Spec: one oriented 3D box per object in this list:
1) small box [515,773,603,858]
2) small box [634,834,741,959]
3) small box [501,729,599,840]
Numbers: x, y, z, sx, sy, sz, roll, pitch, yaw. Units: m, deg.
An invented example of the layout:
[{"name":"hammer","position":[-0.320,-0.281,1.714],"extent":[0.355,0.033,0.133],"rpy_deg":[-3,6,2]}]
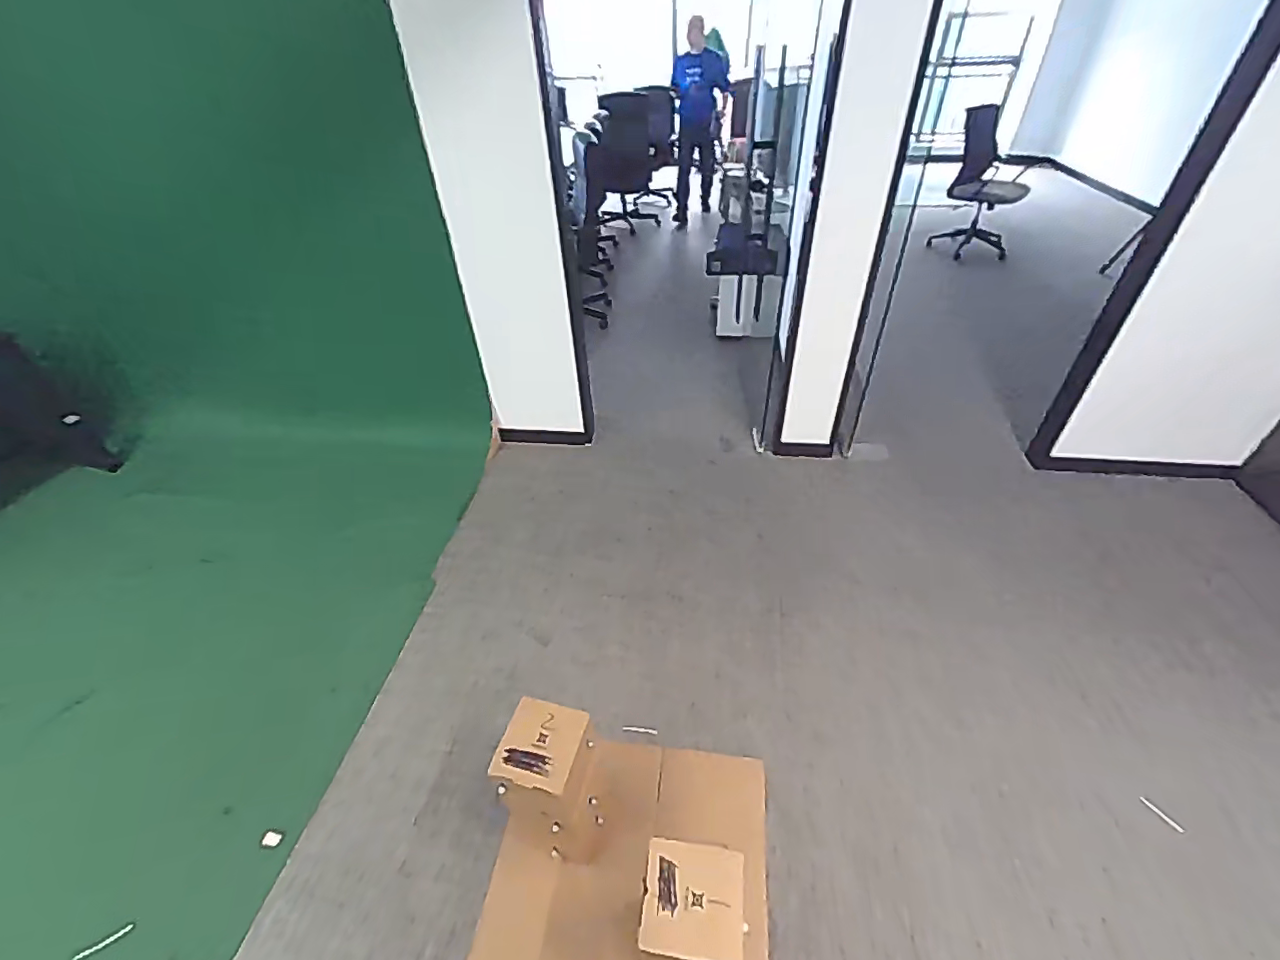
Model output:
[{"name":"small box","position":[-0.203,0.857,1.415],"extent":[0.179,0.176,0.168],"rpy_deg":[10,42,13]},{"name":"small box","position":[0.091,0.782,0.992],"extent":[0.179,0.176,0.168],"rpy_deg":[4,42,8]},{"name":"small box","position":[-0.206,0.736,1.302],"extent":[0.179,0.176,0.168],"rpy_deg":[9,41,13]}]
